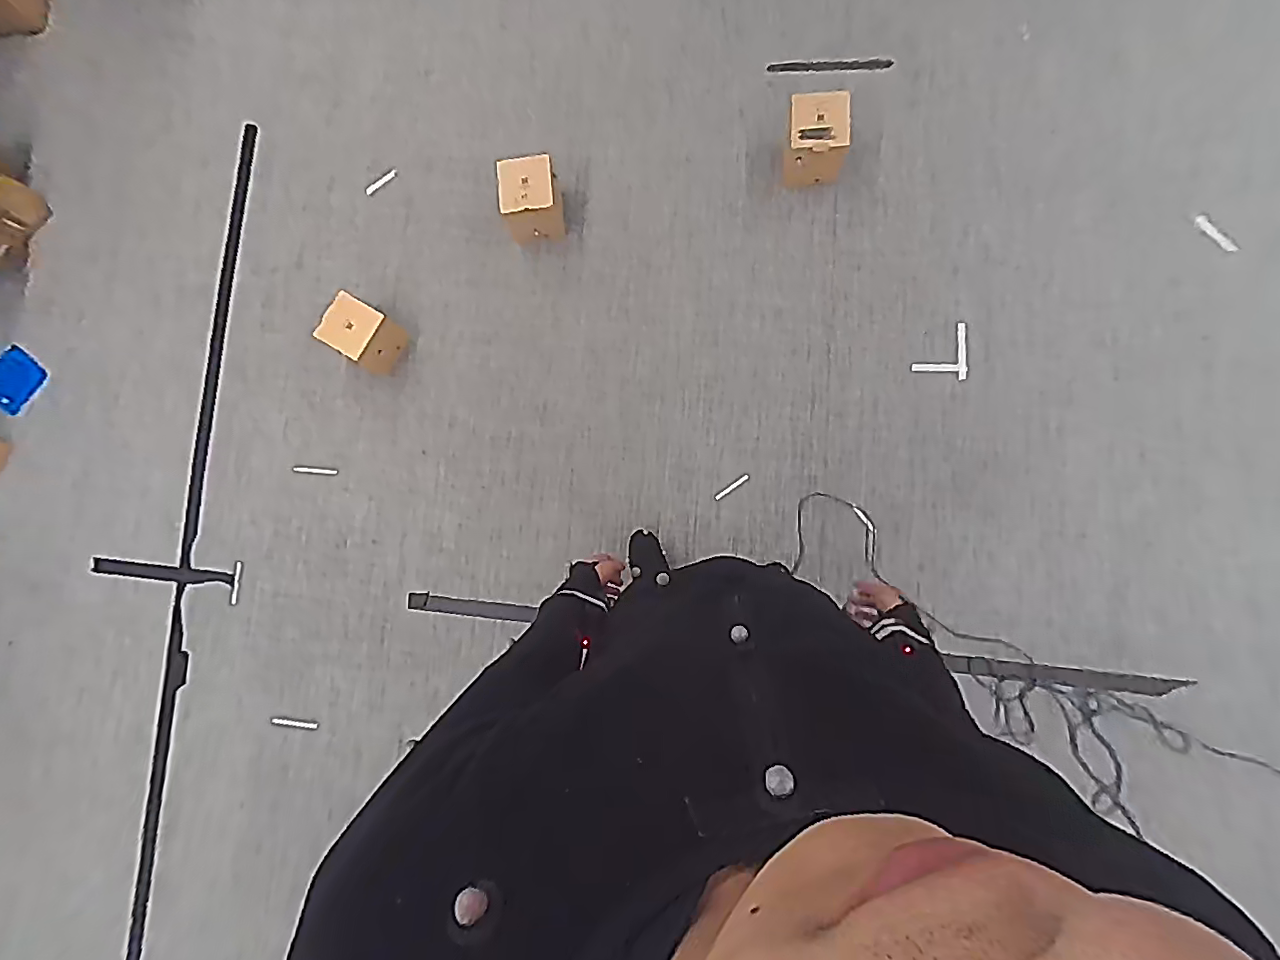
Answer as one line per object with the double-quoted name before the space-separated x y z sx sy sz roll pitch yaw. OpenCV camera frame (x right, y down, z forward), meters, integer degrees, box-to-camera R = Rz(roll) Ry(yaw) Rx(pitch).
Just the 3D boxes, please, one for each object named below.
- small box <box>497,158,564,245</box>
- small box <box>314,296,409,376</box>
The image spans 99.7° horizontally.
"small box" -0.344 -0.878 1.715 0.168 0.176 0.179 -6 84 4
"small box" -0.878 -0.449 1.723 0.179 0.176 0.168 30 88 8
